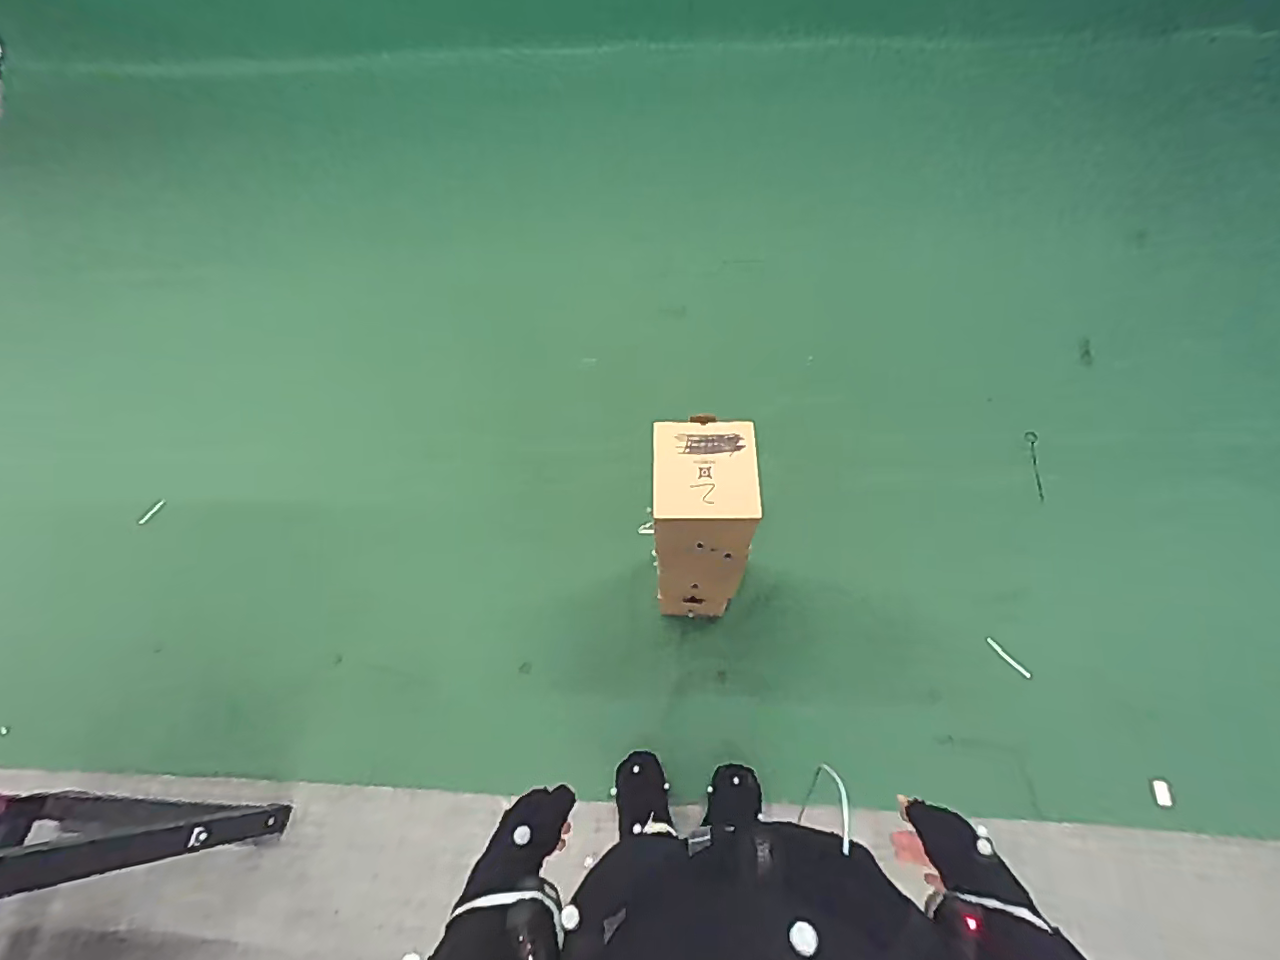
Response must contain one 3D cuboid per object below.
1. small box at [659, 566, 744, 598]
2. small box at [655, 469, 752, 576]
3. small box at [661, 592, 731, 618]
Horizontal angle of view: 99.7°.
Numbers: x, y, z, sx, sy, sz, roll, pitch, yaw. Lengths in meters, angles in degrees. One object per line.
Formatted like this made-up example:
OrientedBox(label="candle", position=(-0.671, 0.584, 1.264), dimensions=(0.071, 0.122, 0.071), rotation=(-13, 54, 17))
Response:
OrientedBox(label="small box", position=(0.135, 0.162, 1.215), dimensions=(0.179, 0.176, 0.168), rotation=(3, 62, 5))
OrientedBox(label="small box", position=(0.122, 0.089, 1.073), dimensions=(0.179, 0.176, 0.168), rotation=(0, 63, 3))
OrientedBox(label="small box", position=(0.139, 0.239, 1.363), dimensions=(0.168, 0.176, 0.179), rotation=(1, 64, 5))
